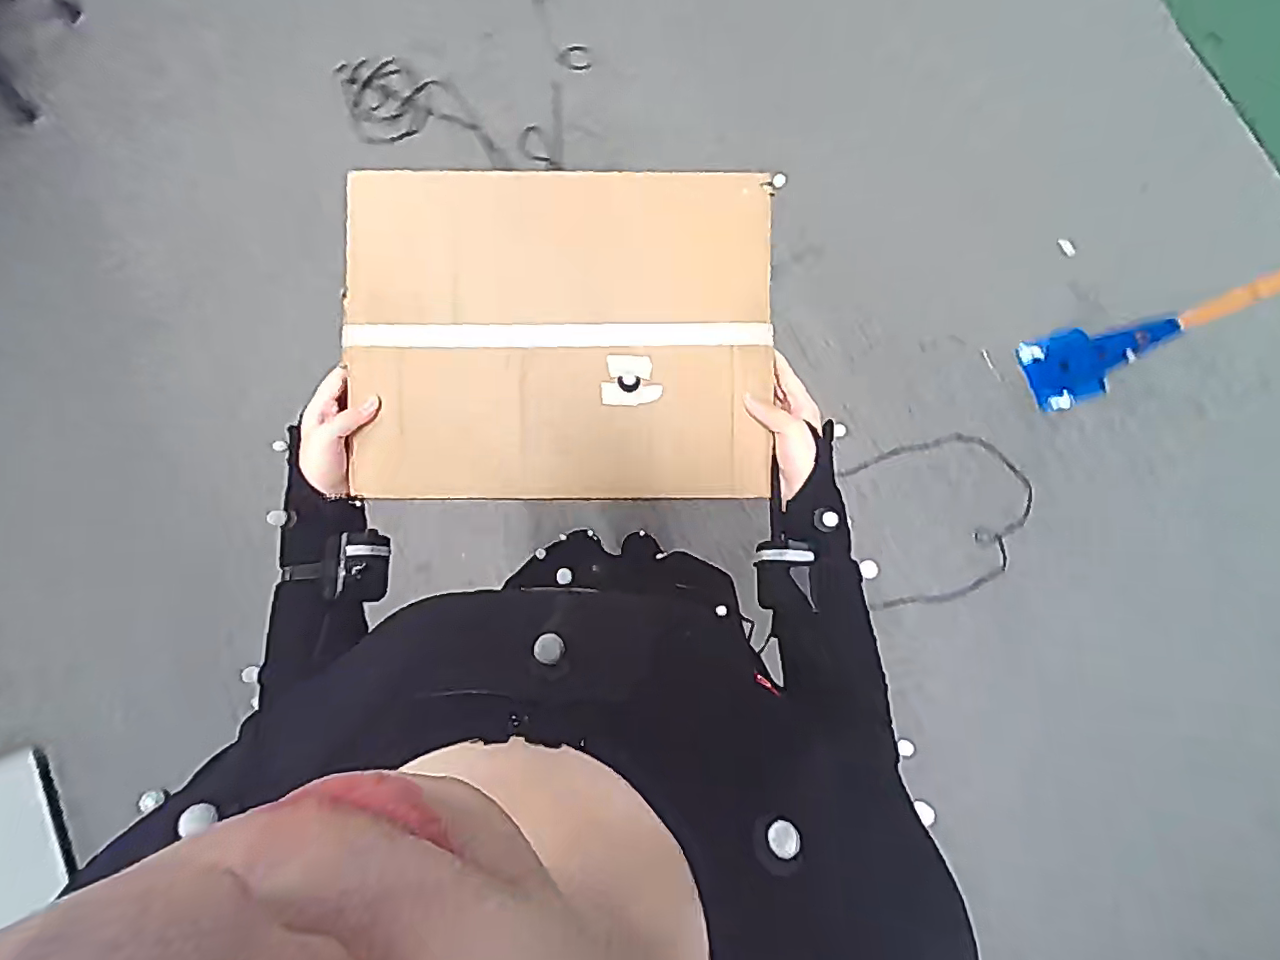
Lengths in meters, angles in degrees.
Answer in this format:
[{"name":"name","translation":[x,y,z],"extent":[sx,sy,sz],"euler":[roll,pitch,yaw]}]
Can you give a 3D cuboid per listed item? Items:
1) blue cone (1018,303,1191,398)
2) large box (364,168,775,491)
[{"name":"blue cone","translation":[1.172,-0.349,1.356],"extent":[0.192,0.380,0.193],"euler":[-19,85,-1]},{"name":"large box","translation":[-0.072,-0.146,0.673],"extent":[0.408,0.320,0.320],"euler":[1,91,-2]}]
